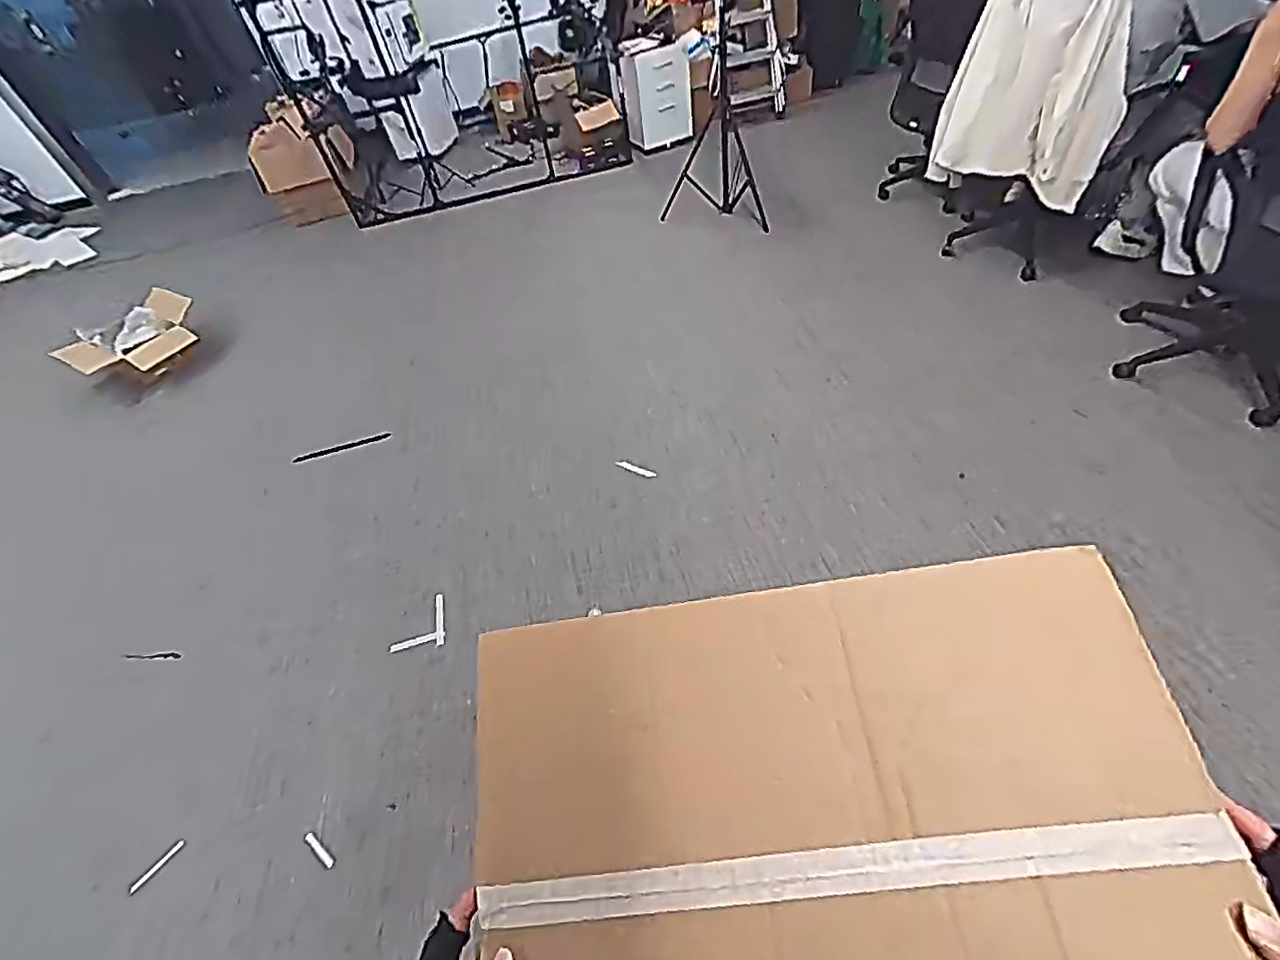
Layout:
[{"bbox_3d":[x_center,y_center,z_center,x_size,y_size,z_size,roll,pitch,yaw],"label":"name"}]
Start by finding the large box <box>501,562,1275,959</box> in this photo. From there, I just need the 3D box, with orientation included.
[{"bbox_3d":[0.135,0.286,0.440,0.408,0.320,0.320,-10,66,6],"label":"large box"}]
